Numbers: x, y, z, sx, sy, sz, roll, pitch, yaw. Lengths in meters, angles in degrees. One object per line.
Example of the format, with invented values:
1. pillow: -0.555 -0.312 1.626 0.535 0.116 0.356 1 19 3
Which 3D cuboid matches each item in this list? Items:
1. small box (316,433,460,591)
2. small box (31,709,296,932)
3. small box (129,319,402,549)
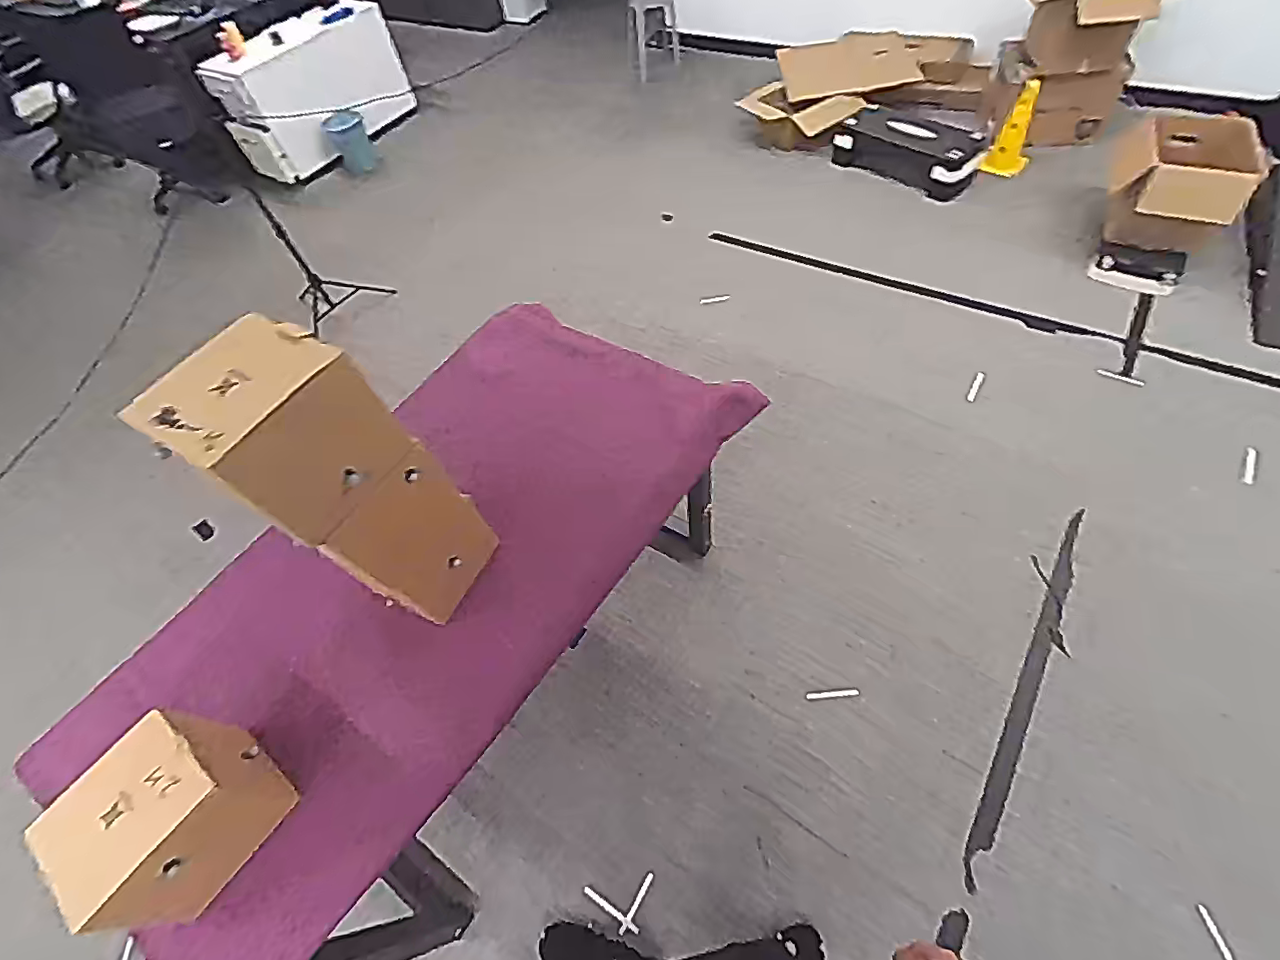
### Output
1. small box: -0.393 0.031 0.777 0.168 0.176 0.179 24 62 21
2. small box: -0.617 0.446 0.721 0.168 0.176 0.179 28 64 25
3. small box: -0.414 -0.052 0.637 0.168 0.176 0.179 23 61 22
